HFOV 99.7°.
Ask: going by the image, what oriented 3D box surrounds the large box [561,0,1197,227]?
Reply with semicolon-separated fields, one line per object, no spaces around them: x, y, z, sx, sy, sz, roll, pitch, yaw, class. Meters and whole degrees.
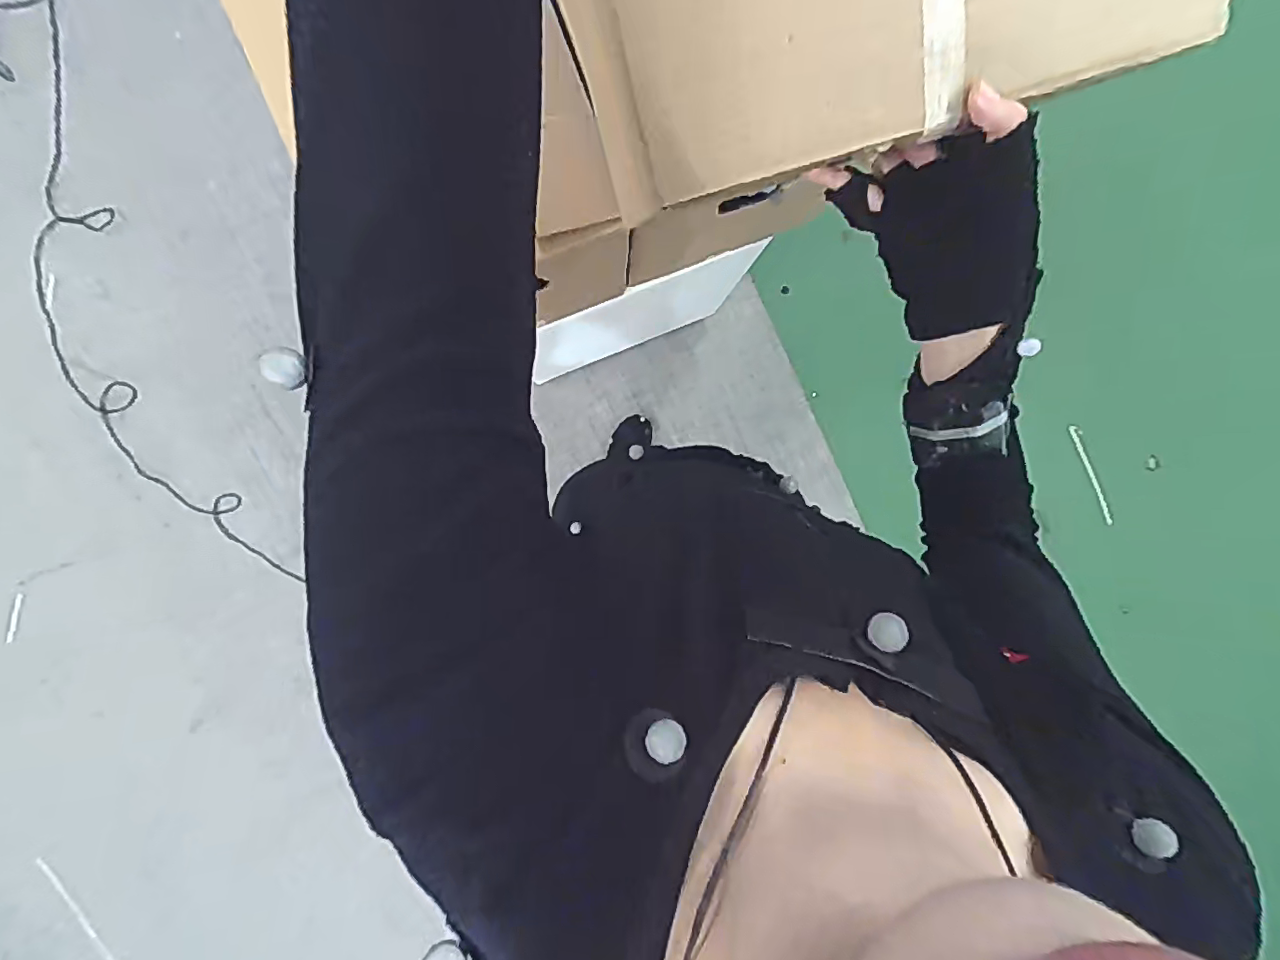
0.081;-0.429;0.355;0.320;0.320;0.408;-16;112;1;large box
